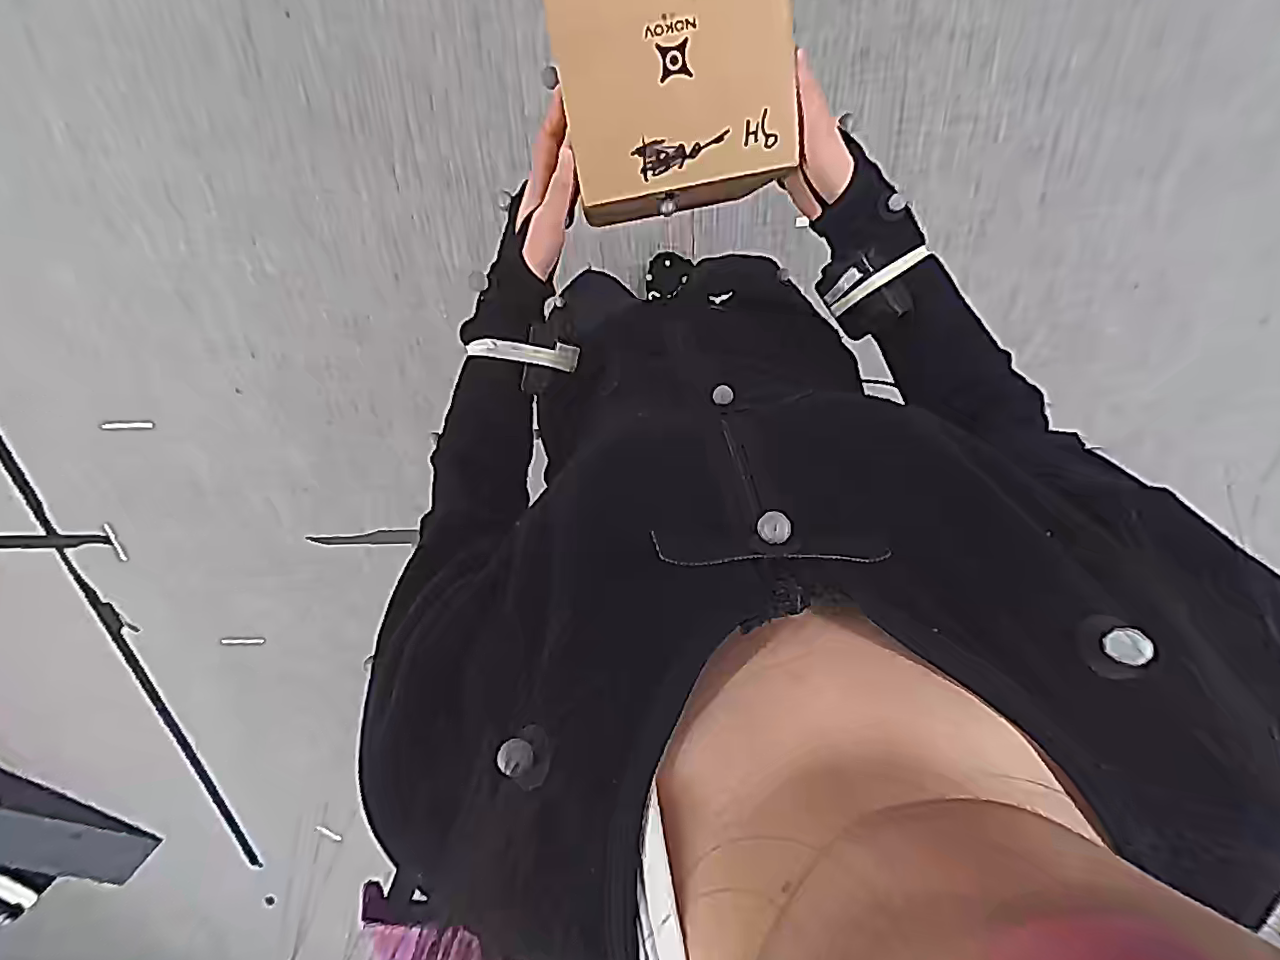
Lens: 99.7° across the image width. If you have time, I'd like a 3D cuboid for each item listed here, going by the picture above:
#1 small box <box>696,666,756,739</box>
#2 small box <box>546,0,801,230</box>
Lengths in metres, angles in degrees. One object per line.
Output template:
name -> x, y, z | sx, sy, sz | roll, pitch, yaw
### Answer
small box -> 0.289, 0.758, 1.850 | 0.179, 0.176, 0.168 | 1, 115, 2
small box -> 0.019, -0.320, 0.444 | 0.168, 0.176, 0.179 | -11, 110, 0
